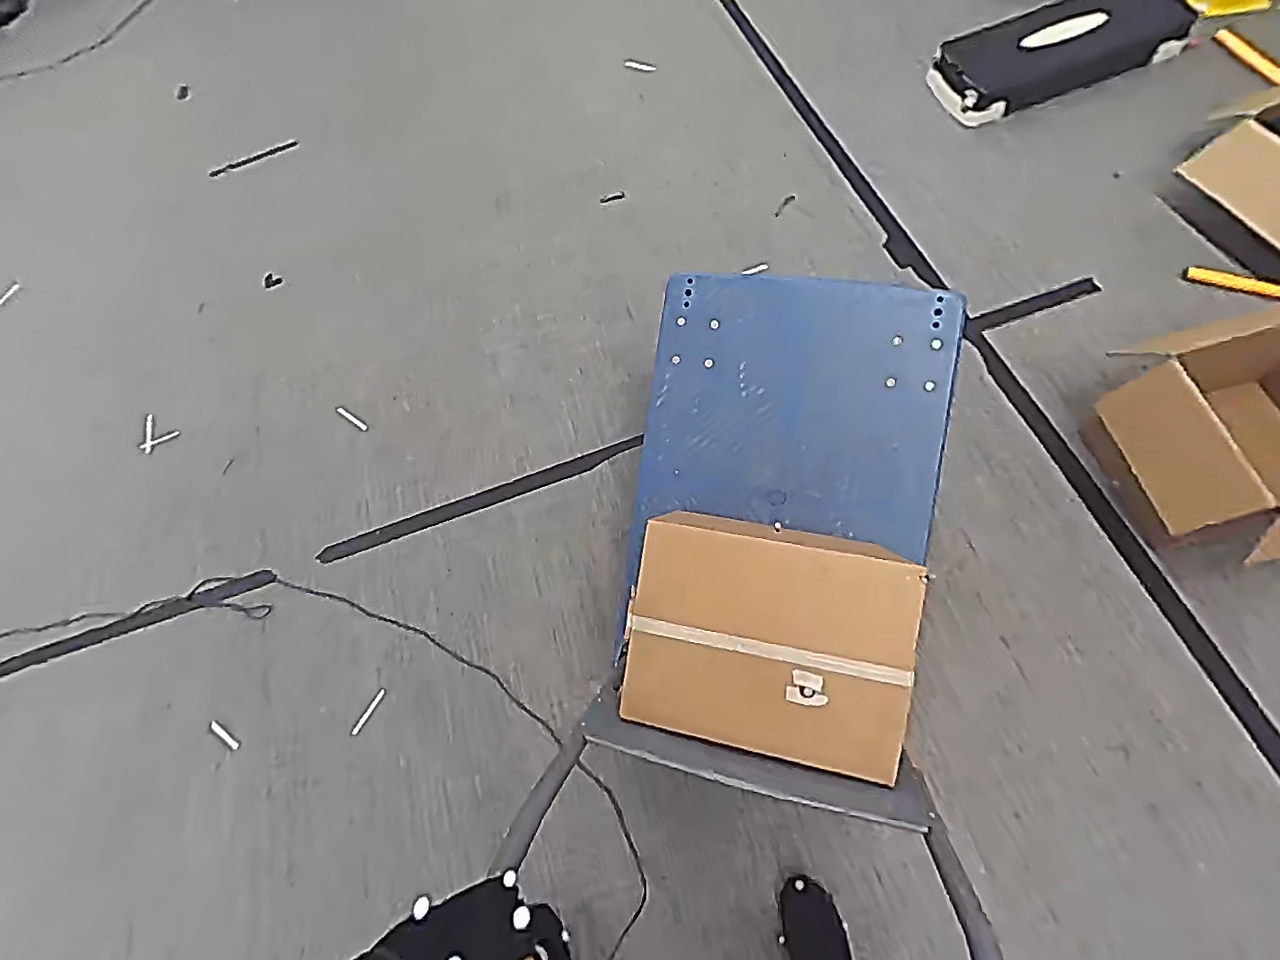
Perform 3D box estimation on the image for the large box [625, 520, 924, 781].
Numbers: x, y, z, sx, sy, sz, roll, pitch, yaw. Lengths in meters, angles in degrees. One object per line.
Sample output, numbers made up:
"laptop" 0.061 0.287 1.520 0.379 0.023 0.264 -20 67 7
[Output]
"large box" 0.215 0.253 0.945 0.408 0.320 0.320 9 92 11
